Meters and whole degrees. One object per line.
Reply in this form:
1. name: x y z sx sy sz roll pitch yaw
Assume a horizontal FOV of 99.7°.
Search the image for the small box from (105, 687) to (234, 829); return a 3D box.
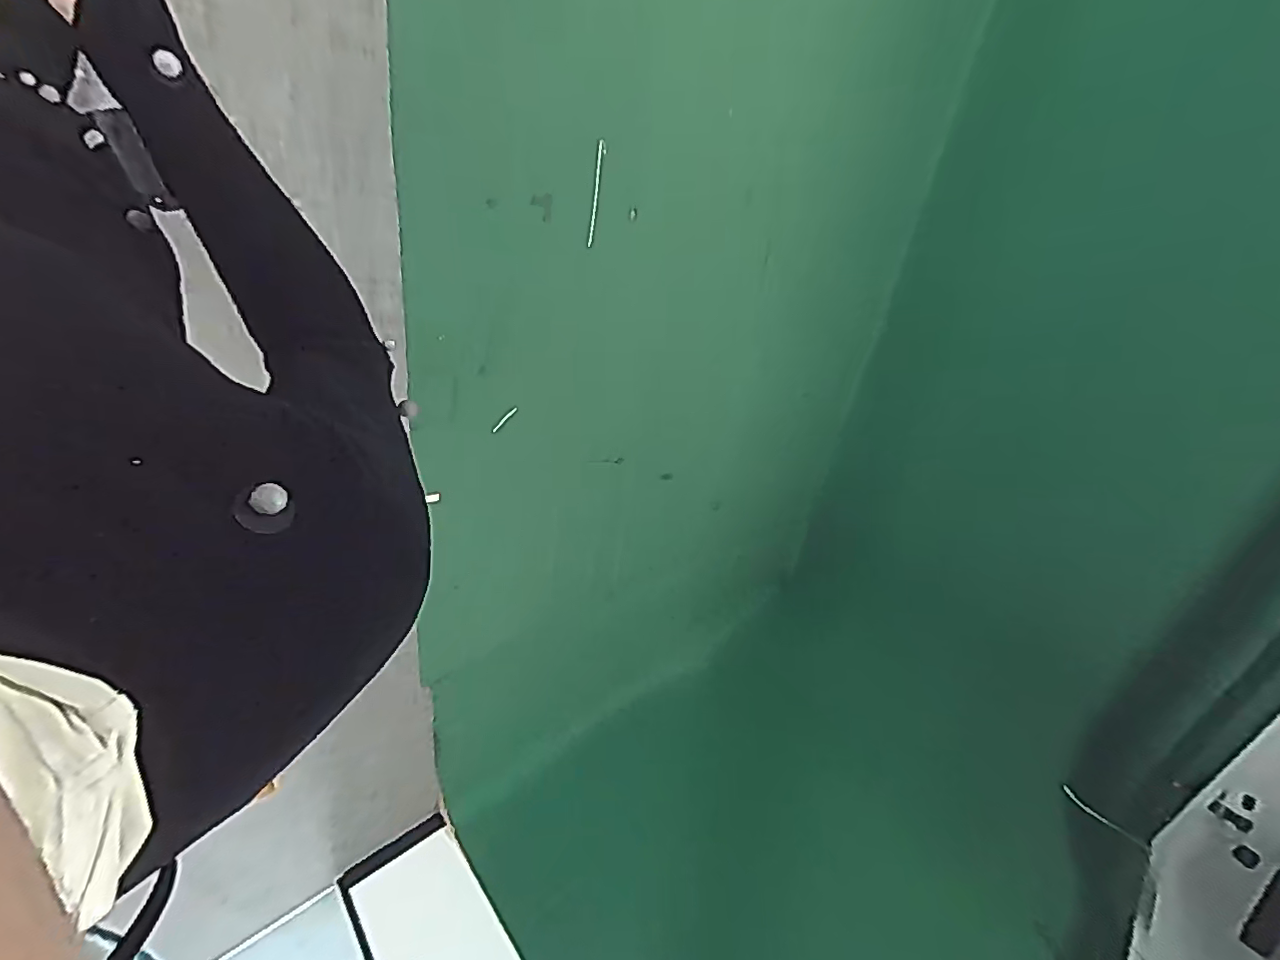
1. small box: -1.002 0.582 1.155 0.179 0.176 0.168 -15 126 -39
